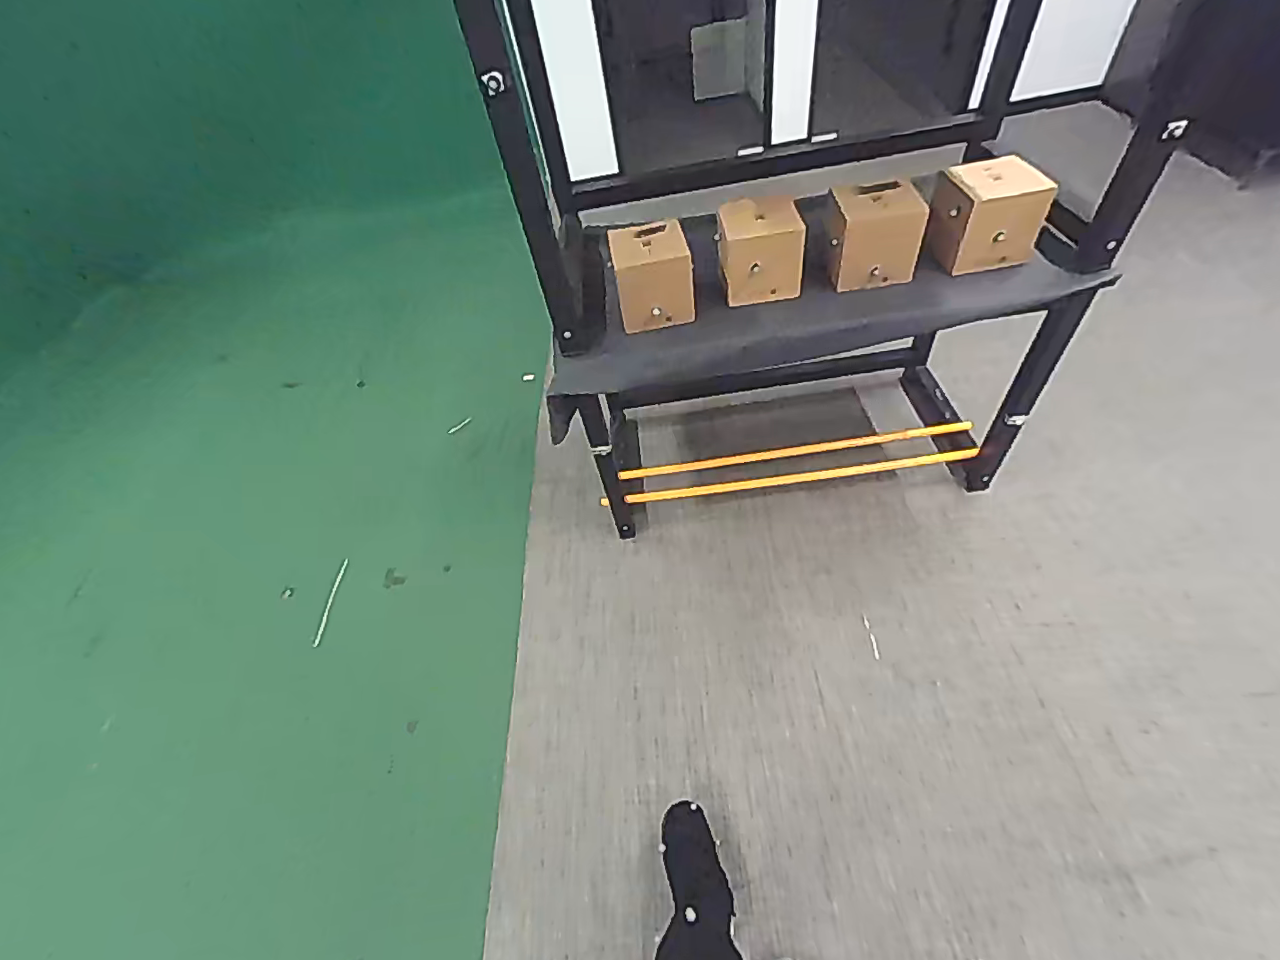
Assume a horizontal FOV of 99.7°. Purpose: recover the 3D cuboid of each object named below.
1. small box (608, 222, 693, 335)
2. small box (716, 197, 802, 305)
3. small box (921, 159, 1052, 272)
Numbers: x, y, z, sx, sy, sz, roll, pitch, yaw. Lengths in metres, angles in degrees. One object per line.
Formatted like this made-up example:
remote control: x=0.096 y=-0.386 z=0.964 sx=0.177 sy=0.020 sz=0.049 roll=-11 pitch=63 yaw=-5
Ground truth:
small box: x=0.026 y=-0.463 z=1.250 sx=0.168 sy=0.176 sz=0.179 roll=-11 pitch=50 yaw=2
small box: x=0.272 y=-0.524 z=1.257 sx=0.168 sy=0.176 sz=0.179 roll=-7 pitch=49 yaw=4
small box: x=0.759 y=-0.582 z=1.208 sx=0.168 sy=0.176 sz=0.179 roll=-8 pitch=49 yaw=4
